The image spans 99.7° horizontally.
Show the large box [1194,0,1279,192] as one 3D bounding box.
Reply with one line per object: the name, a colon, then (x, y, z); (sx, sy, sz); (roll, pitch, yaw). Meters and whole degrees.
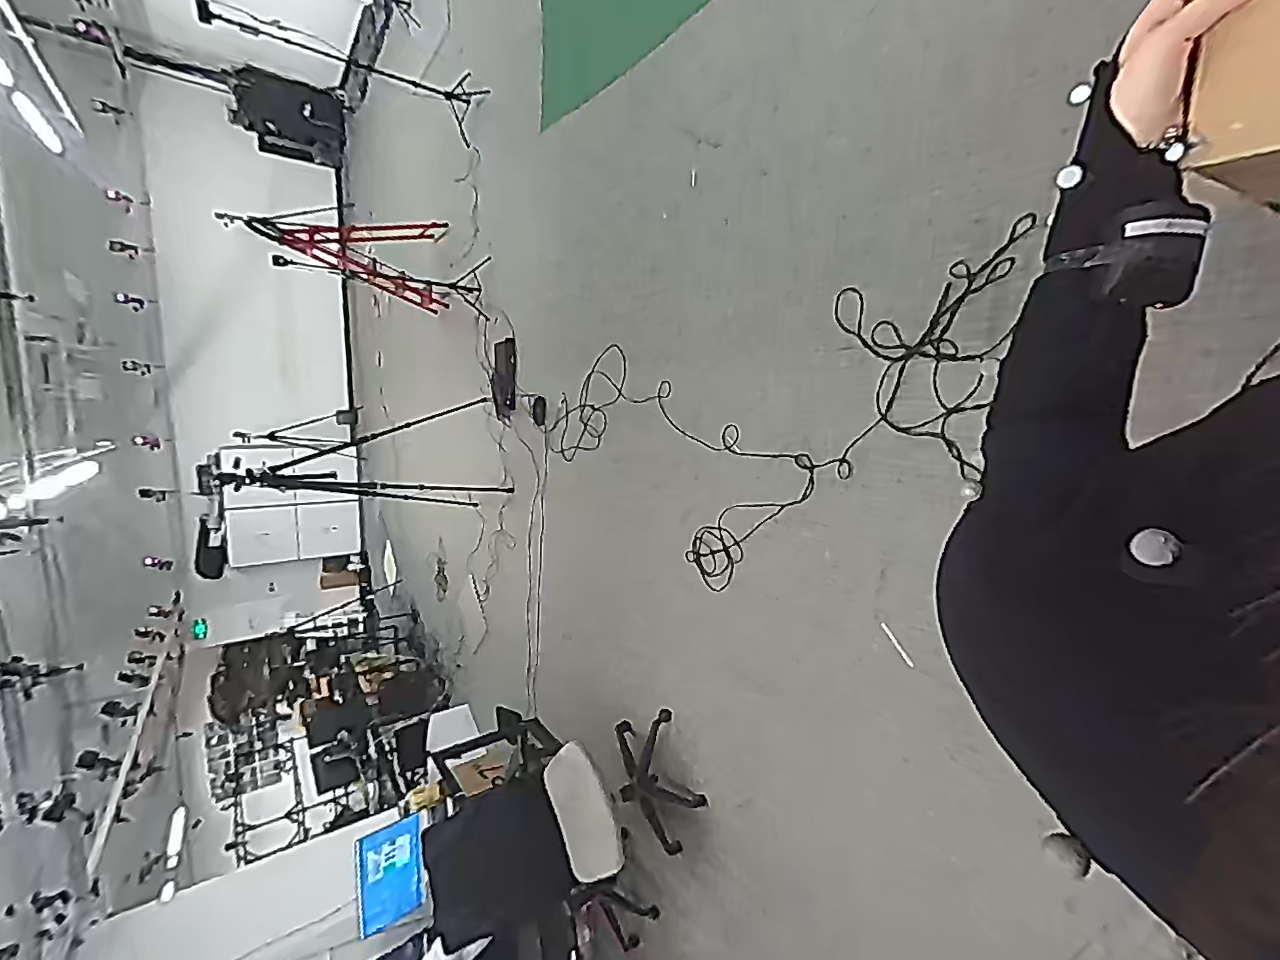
large box: (0.618, -0.371, 0.269); (0.408, 0.320, 0.320); (15, 114, 55)
